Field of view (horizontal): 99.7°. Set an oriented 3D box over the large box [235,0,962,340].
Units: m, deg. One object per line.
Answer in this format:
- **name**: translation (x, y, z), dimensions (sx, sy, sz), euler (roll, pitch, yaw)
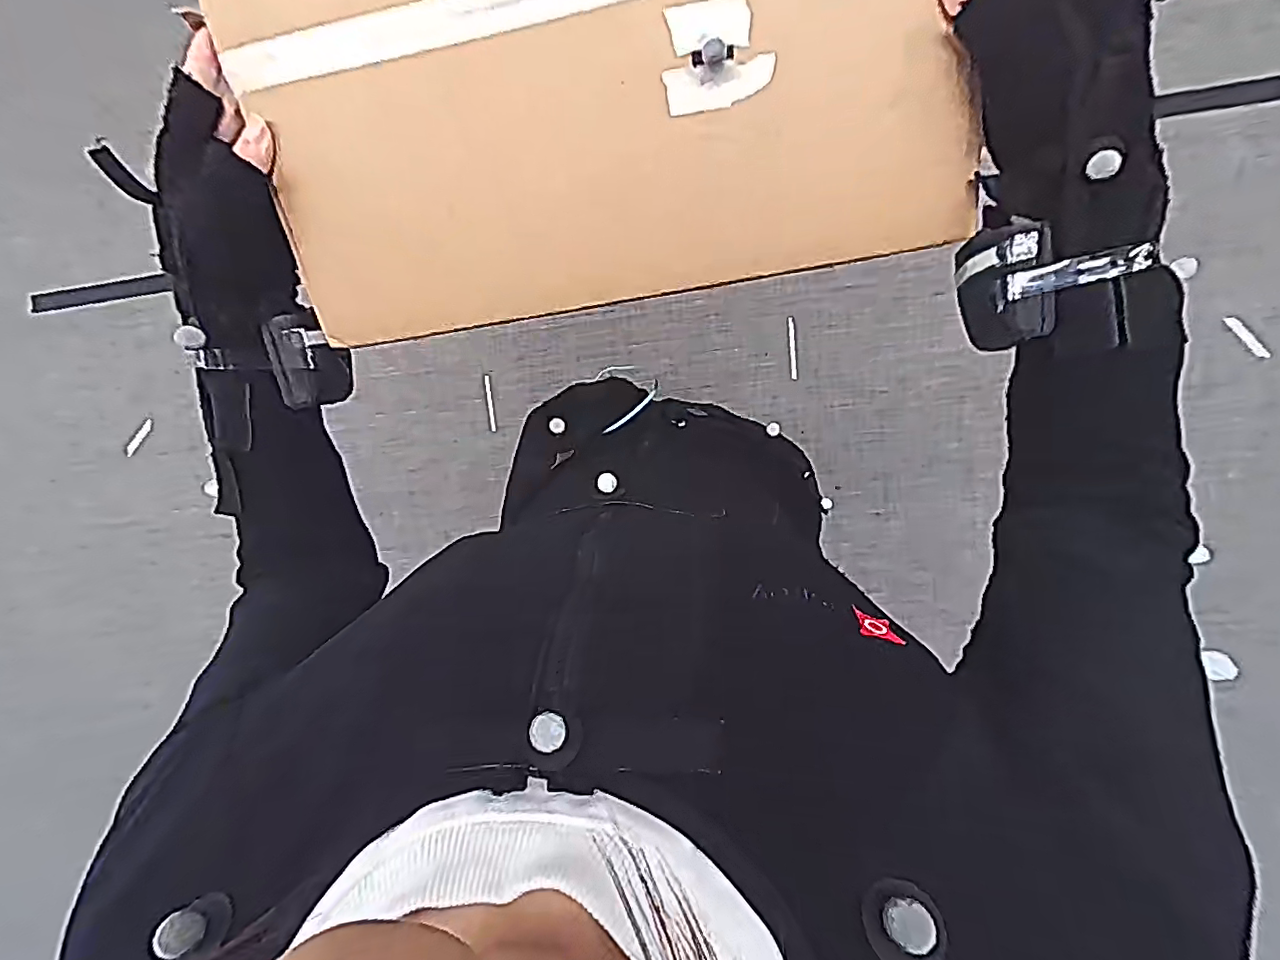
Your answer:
- **large box**: translation (-0.023, -0.318, 0.436), dimensions (0.408, 0.320, 0.320), euler (-8, 111, 6)
